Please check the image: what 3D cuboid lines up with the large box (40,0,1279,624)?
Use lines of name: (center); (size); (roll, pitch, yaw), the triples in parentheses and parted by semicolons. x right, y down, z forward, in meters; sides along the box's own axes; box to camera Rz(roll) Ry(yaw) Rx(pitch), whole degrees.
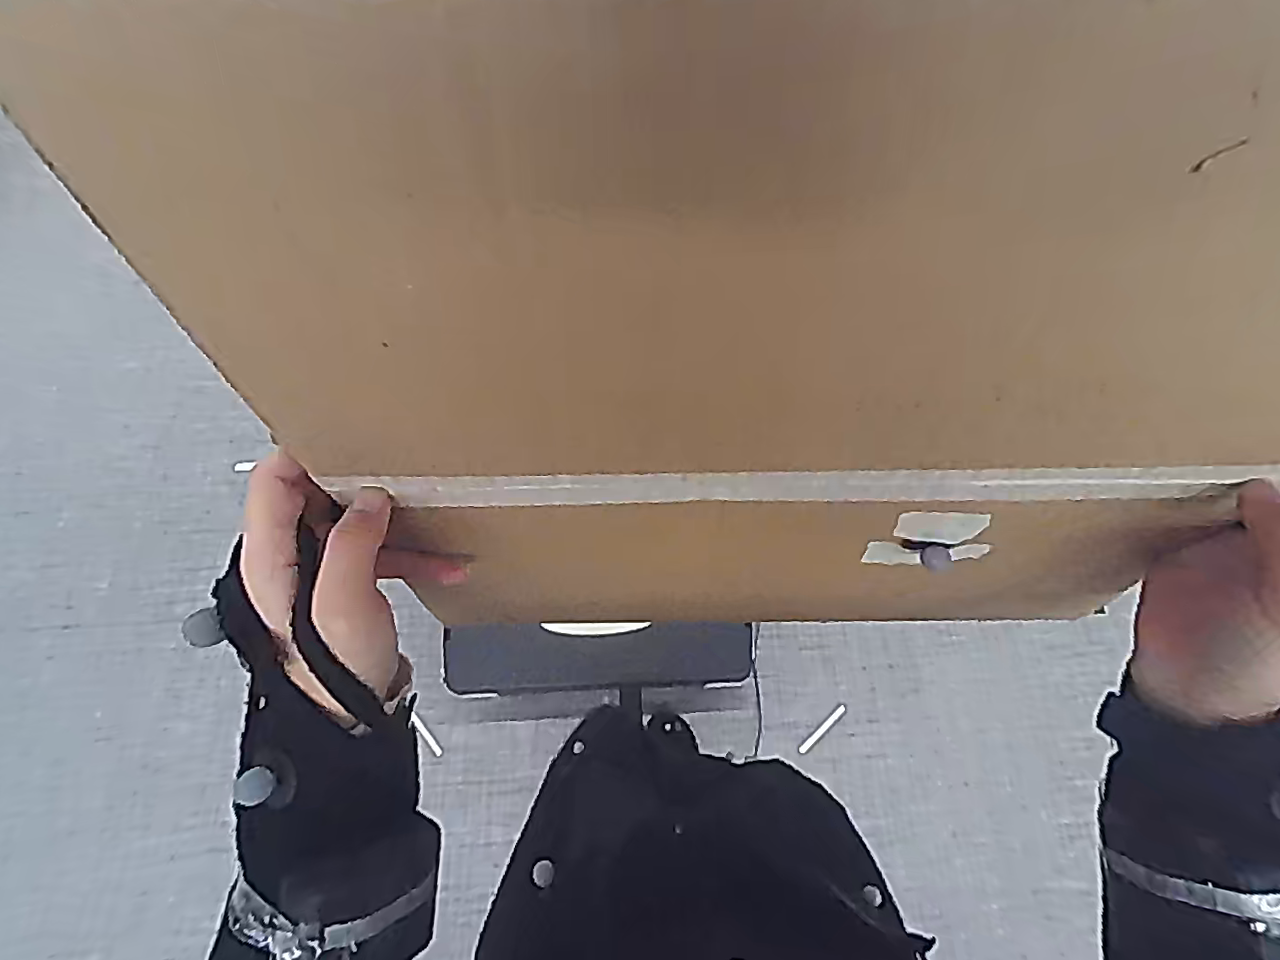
large box: (0.063, -0.122, 0.321); (0.408, 0.320, 0.320); (-2, 55, 1)
